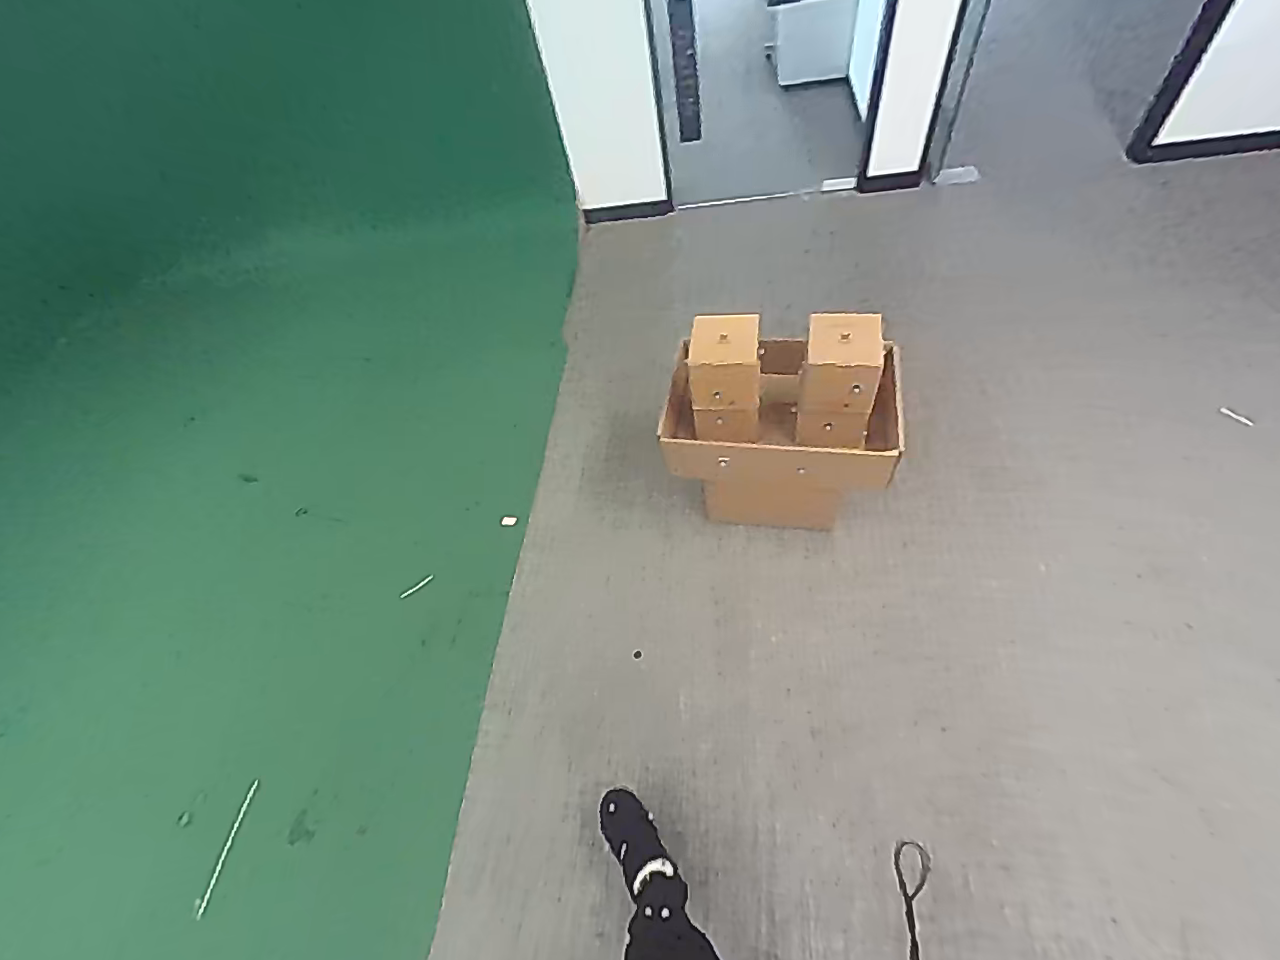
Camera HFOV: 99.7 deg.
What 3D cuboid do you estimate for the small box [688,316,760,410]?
[{"bbox_3d":[0.220,-0.303,1.397,0.168,0.176,0.179,2,57,12],"label":"small box"}]

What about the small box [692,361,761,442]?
[{"bbox_3d":[0.250,-0.221,1.535,0.179,0.176,0.168,3,57,13],"label":"small box"}]

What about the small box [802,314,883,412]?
[{"bbox_3d":[0.494,-0.285,1.330,0.168,0.176,0.179,5,56,13],"label":"small box"}]
